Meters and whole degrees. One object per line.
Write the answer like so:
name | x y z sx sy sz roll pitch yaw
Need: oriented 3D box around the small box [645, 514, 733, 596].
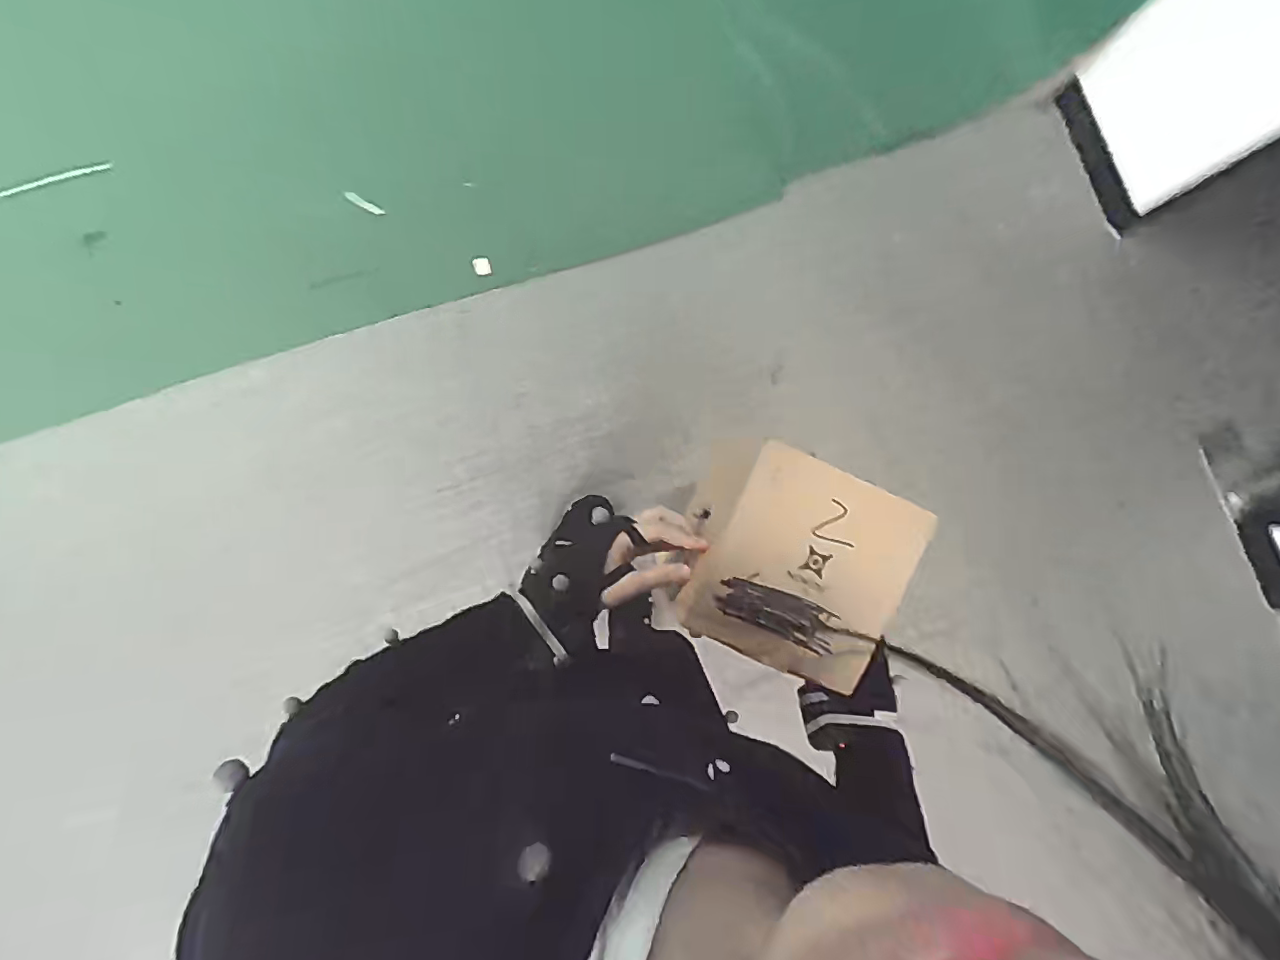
small box | 0.122 0.191 1.418 0.179 0.176 0.168 -18 86 -4
